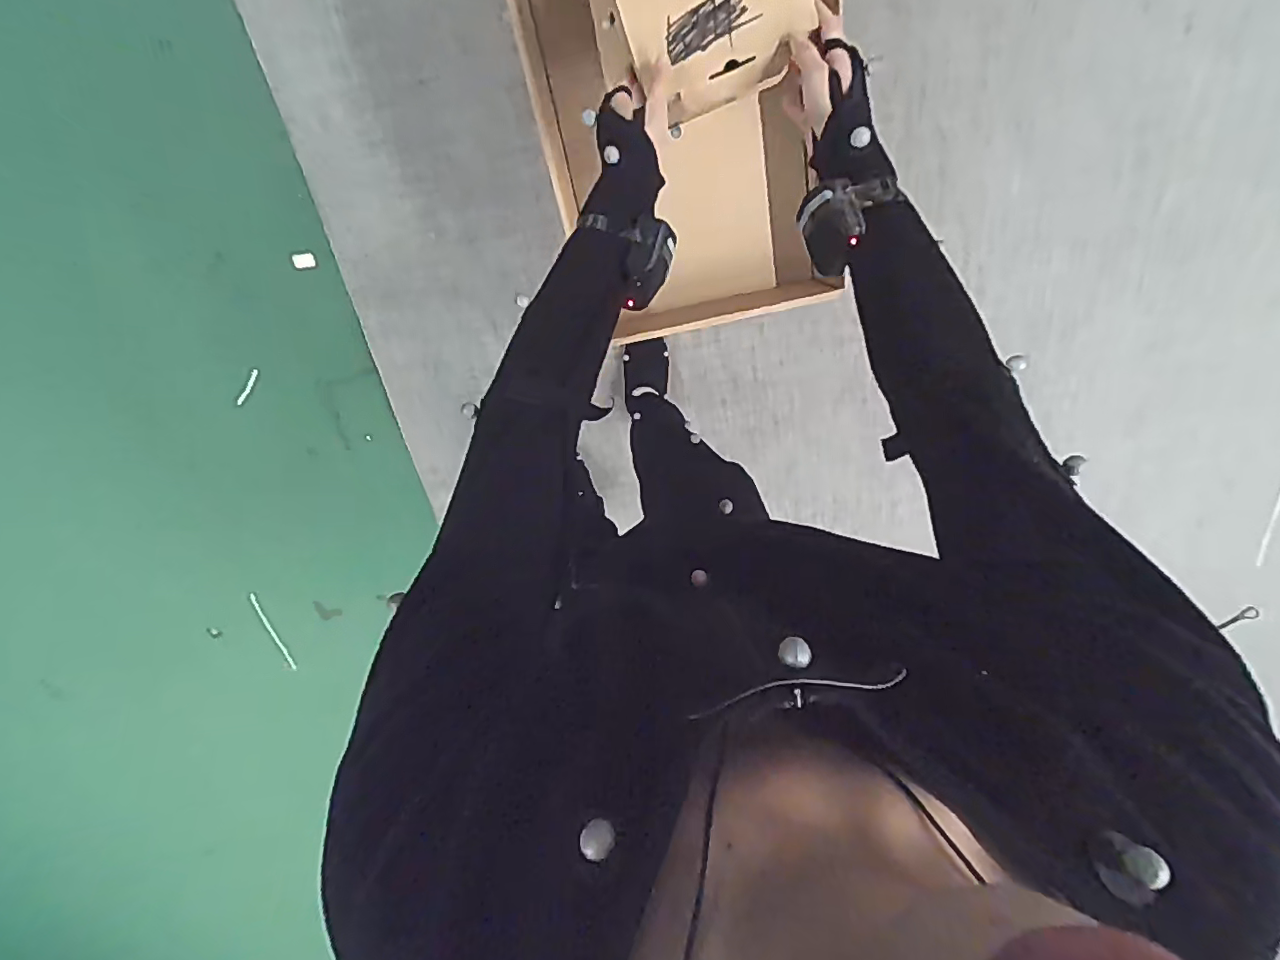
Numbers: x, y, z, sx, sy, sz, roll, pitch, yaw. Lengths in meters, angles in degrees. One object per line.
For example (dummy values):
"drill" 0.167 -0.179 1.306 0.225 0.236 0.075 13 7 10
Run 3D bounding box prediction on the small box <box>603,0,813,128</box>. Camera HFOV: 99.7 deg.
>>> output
"small box" 0.053 -0.479 0.537 0.168 0.176 0.179 -19 112 8
